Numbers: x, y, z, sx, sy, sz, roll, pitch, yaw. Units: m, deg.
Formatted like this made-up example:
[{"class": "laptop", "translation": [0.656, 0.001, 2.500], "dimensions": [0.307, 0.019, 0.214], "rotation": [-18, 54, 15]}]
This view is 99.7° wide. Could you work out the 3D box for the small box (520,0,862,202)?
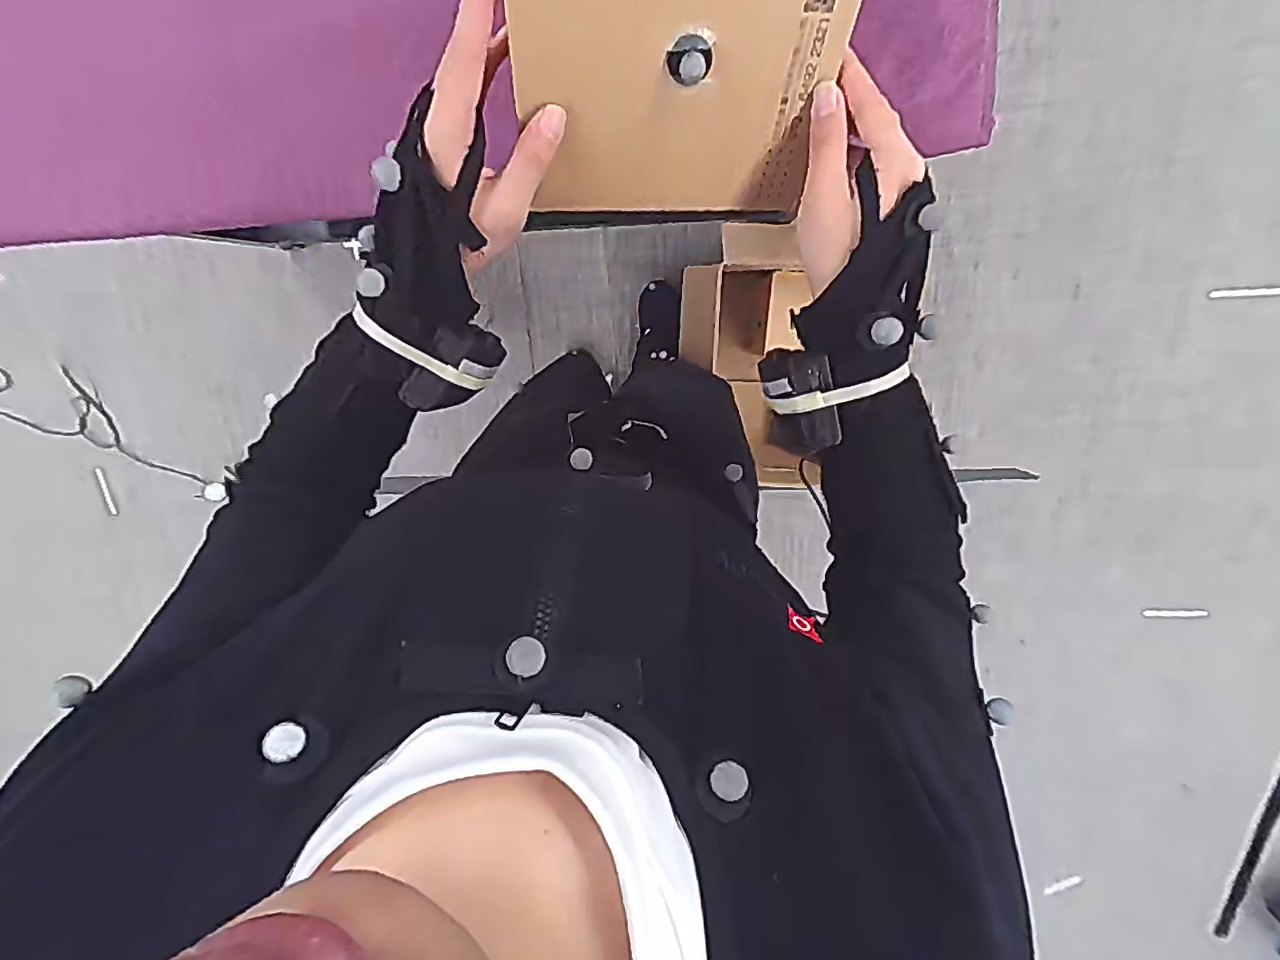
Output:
[{"class": "small box", "translation": [0.017, -0.284, 0.306], "dimensions": [0.176, 0.179, 0.168], "rotation": [-4, 146, -8]}]
